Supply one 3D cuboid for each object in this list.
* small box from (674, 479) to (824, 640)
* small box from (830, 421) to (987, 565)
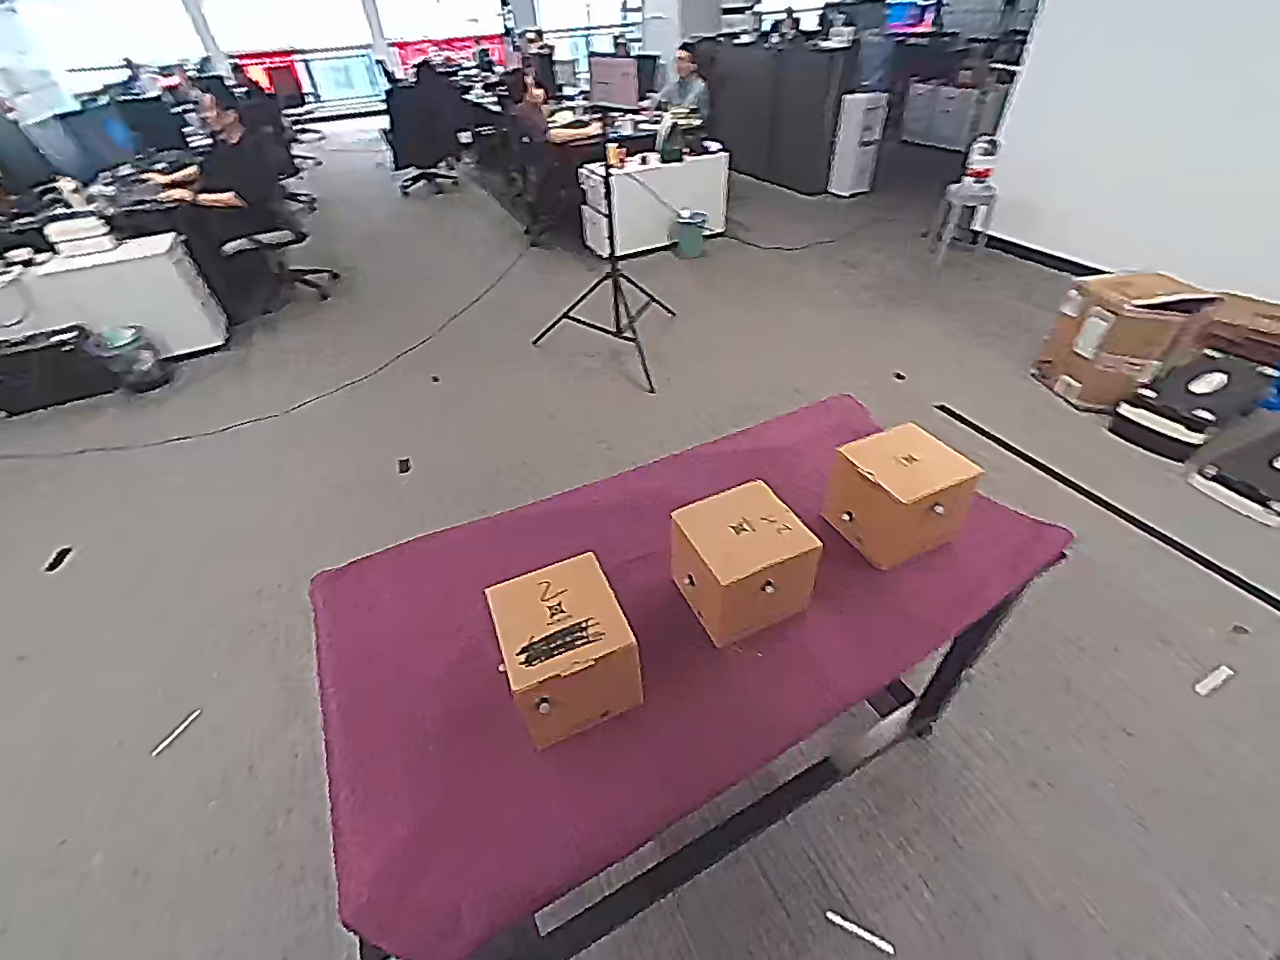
[{"bbox_3d":[0.170,0.132,0.886,0.179,0.176,0.168,-18,44,-16],"label":"small box"},{"bbox_3d":[0.473,0.024,0.983,0.179,0.176,0.168,-19,43,-15],"label":"small box"}]
